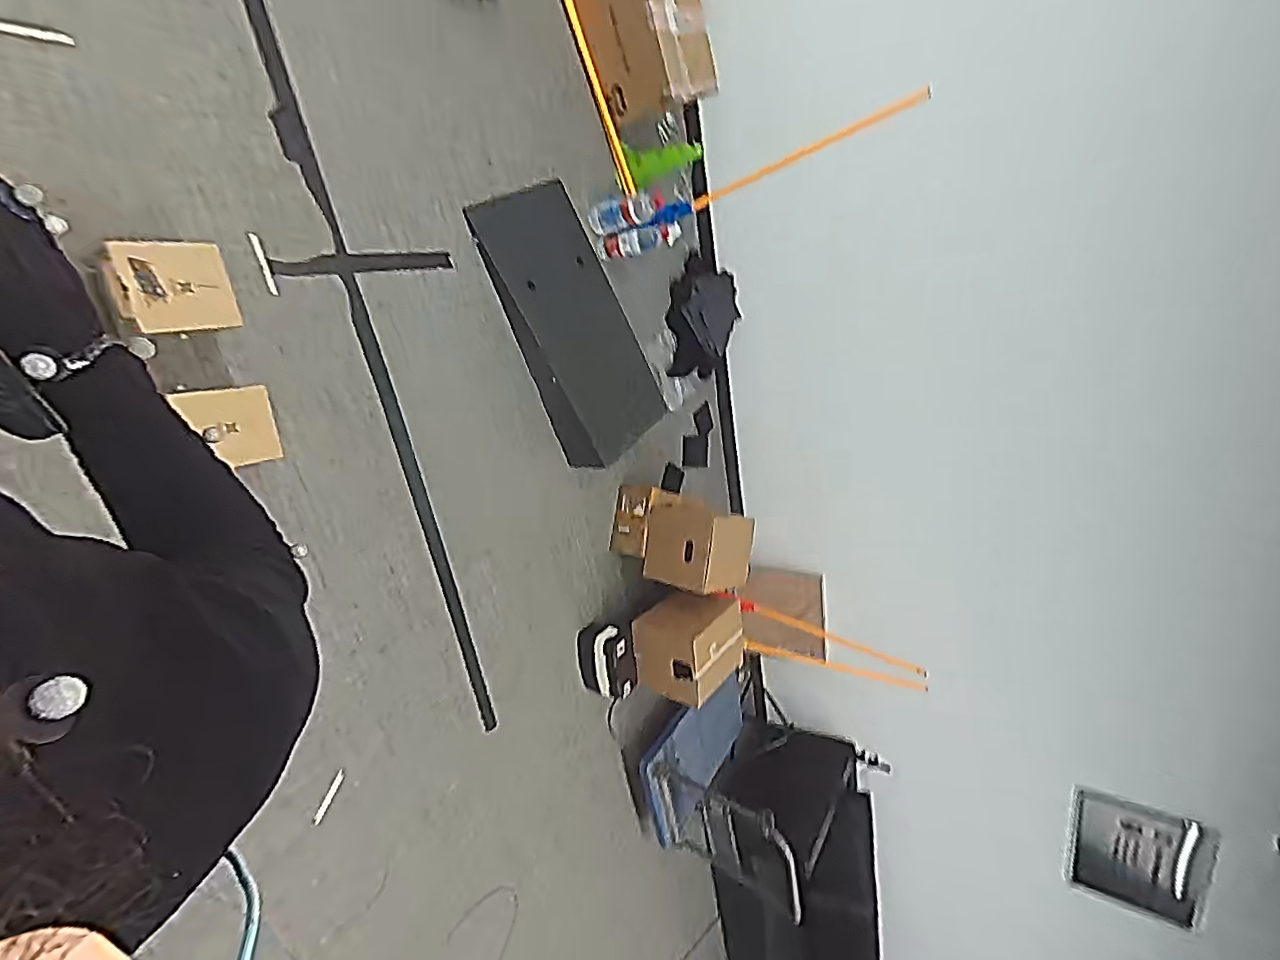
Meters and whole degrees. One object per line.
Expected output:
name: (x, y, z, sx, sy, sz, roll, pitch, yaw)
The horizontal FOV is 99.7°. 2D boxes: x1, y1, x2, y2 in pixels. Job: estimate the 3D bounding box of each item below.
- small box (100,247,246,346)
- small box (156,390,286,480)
small box: (-0.957, -0.371, 1.105, 0.179, 0.176, 0.168, -28, 116, -49)
small box: (-0.922, -0.102, 1.186, 0.179, 0.176, 0.168, -23, 113, -50)
